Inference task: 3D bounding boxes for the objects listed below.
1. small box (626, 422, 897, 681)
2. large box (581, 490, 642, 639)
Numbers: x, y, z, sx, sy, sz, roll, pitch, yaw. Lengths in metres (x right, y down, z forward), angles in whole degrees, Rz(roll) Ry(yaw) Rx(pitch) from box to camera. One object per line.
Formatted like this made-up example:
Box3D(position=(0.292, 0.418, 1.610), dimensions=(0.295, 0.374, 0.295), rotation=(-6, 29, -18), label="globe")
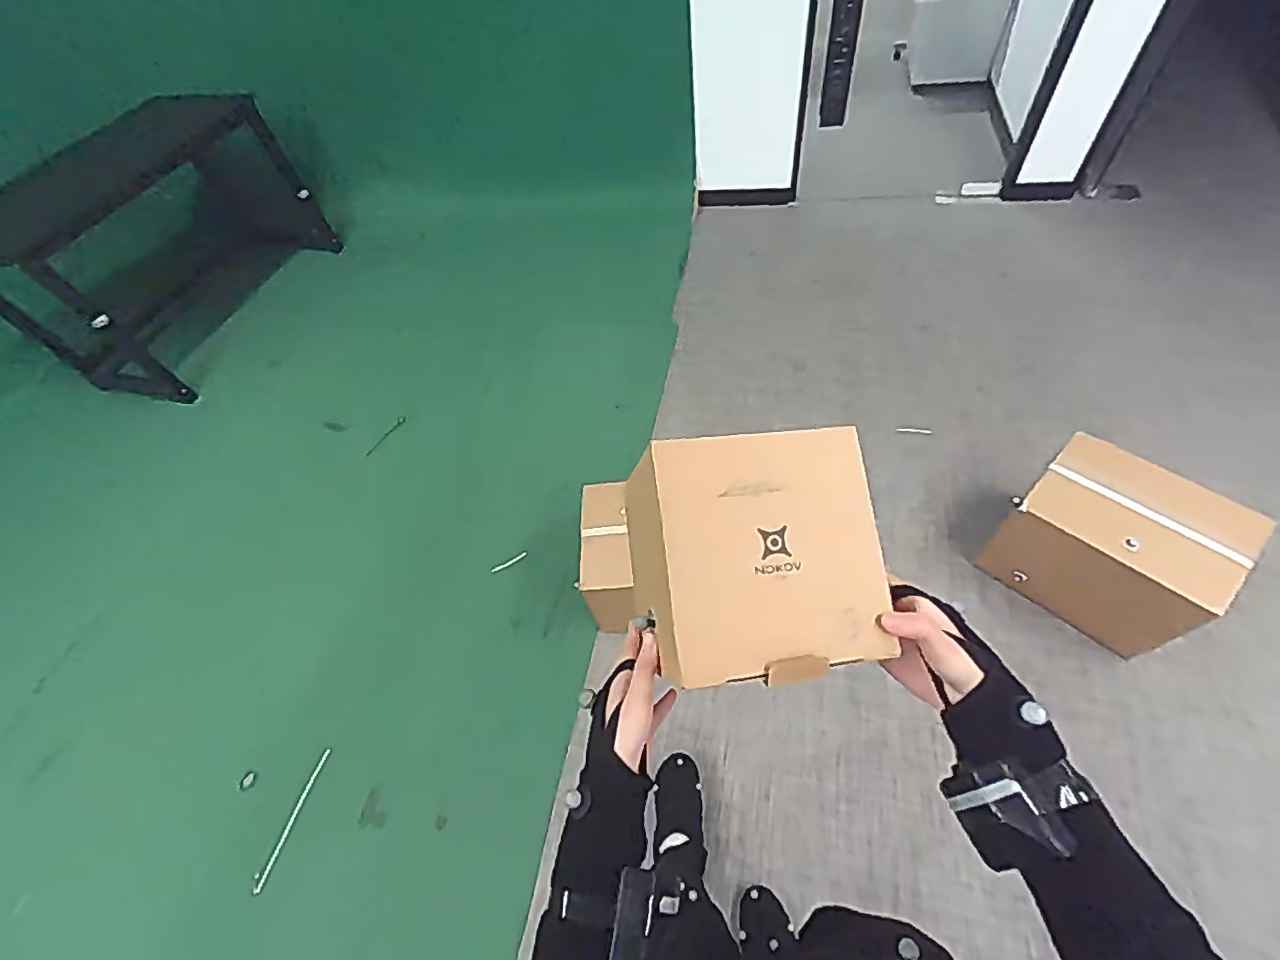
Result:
Box3D(position=(0.084, 0.062, 0.465), dimensions=(0.168, 0.176, 0.179), rotation=(-4, 77, -10), label="small box")
Box3D(position=(0.071, 0.225, 1.485), dimensions=(0.408, 0.320, 0.320), rotation=(-6, 53, 6), label="large box")
